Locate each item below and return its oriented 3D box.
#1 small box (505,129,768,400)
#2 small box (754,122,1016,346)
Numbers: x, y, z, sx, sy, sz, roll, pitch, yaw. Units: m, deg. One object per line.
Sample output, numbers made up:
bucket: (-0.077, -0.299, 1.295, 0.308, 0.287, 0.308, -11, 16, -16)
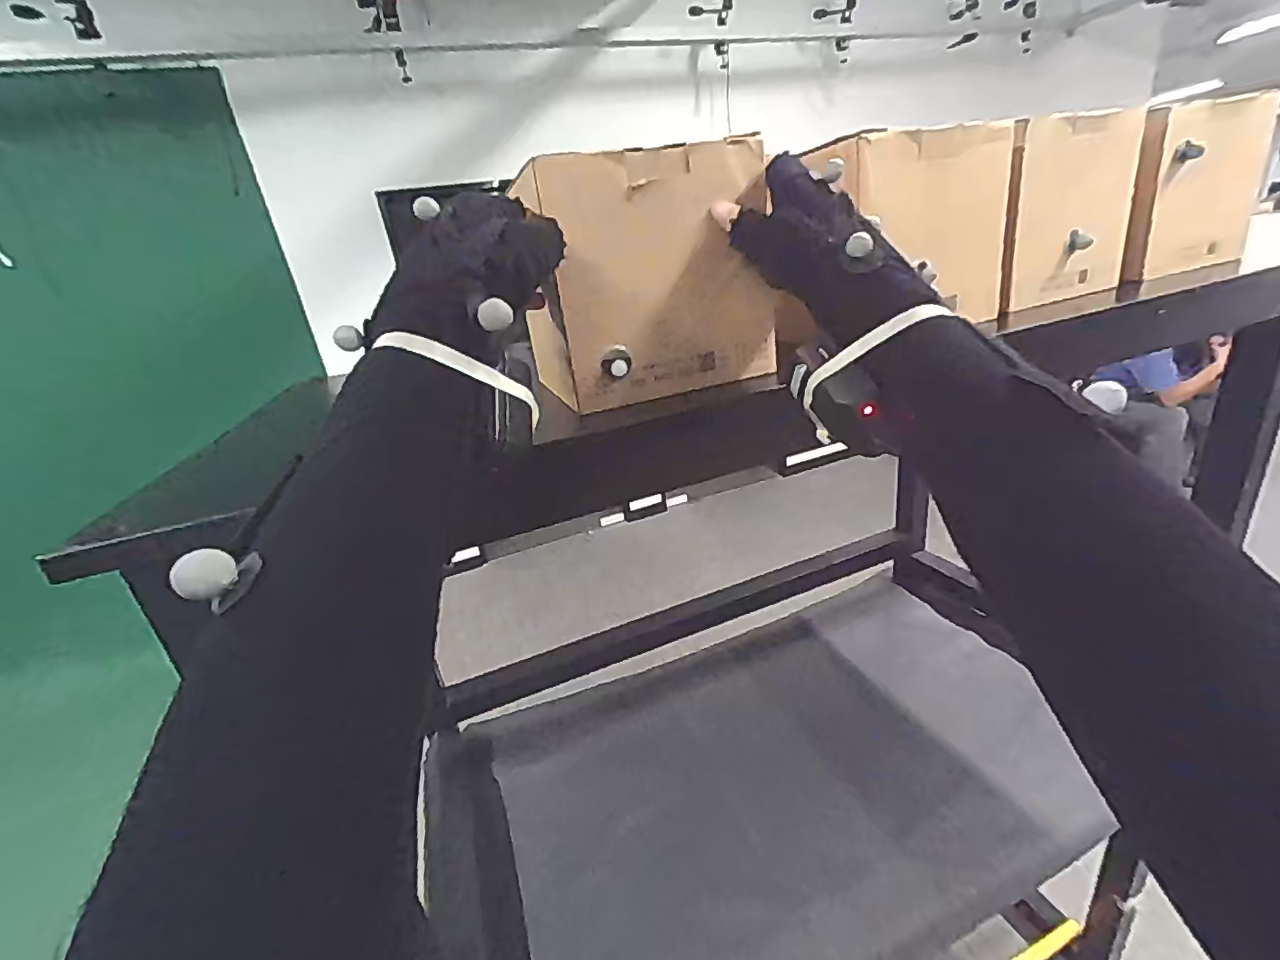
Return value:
small box: (-0.006, -0.170, 0.458, 0.168, 0.176, 0.179, -14, 20, -16)
small box: (0.221, -0.230, 0.533, 0.168, 0.176, 0.179, -15, 22, -18)
